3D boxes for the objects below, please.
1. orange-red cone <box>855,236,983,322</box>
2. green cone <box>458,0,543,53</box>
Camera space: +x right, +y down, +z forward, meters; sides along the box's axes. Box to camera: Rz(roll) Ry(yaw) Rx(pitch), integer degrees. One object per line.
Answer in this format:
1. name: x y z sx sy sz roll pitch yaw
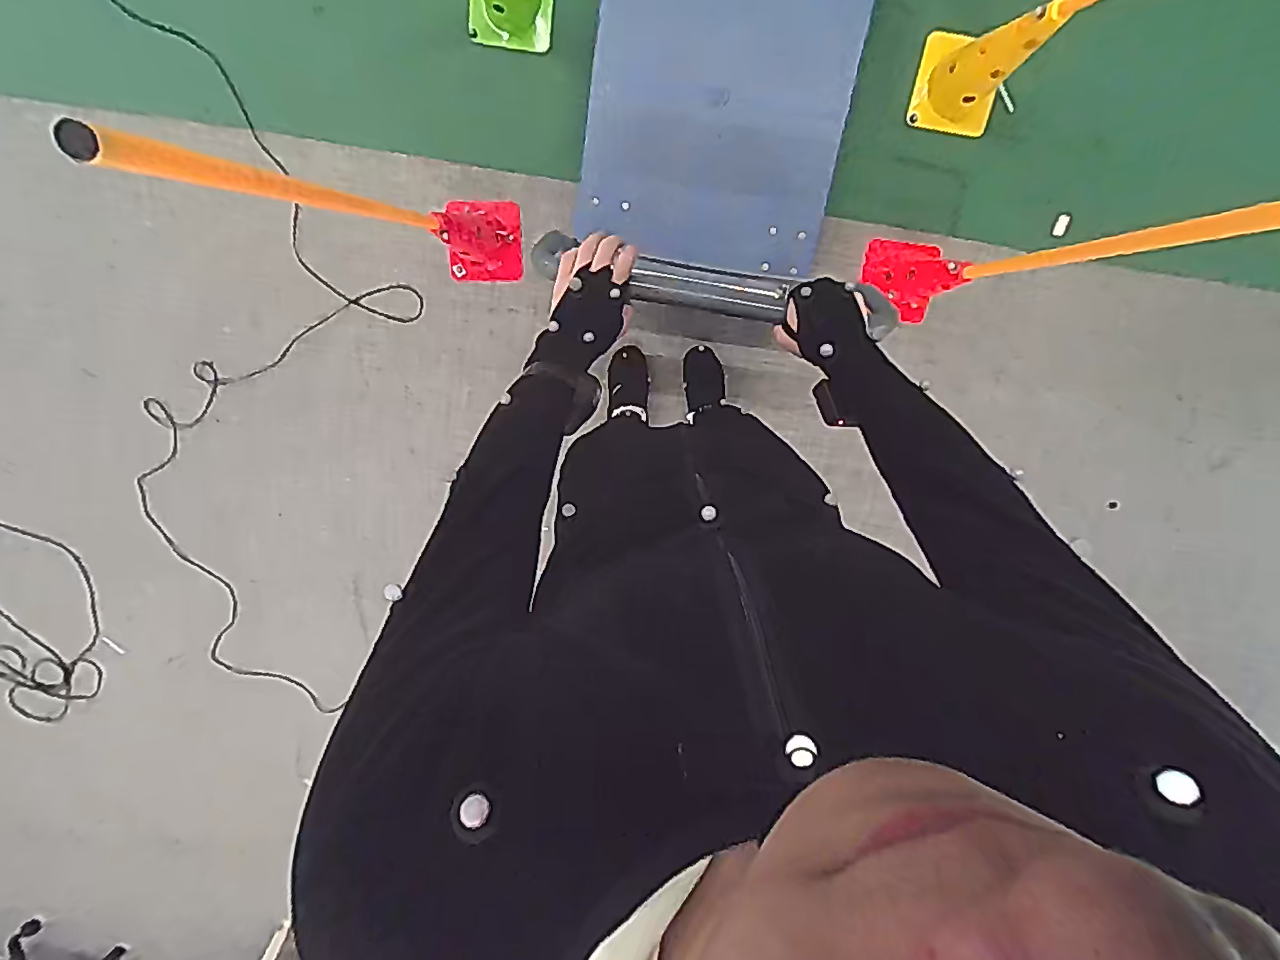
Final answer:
1. orange-red cone: 0.683 -0.486 1.272 0.198 0.360 0.199 7 106 -2
2. green cone: -0.334 -1.082 1.108 0.200 0.368 0.202 7 106 0
